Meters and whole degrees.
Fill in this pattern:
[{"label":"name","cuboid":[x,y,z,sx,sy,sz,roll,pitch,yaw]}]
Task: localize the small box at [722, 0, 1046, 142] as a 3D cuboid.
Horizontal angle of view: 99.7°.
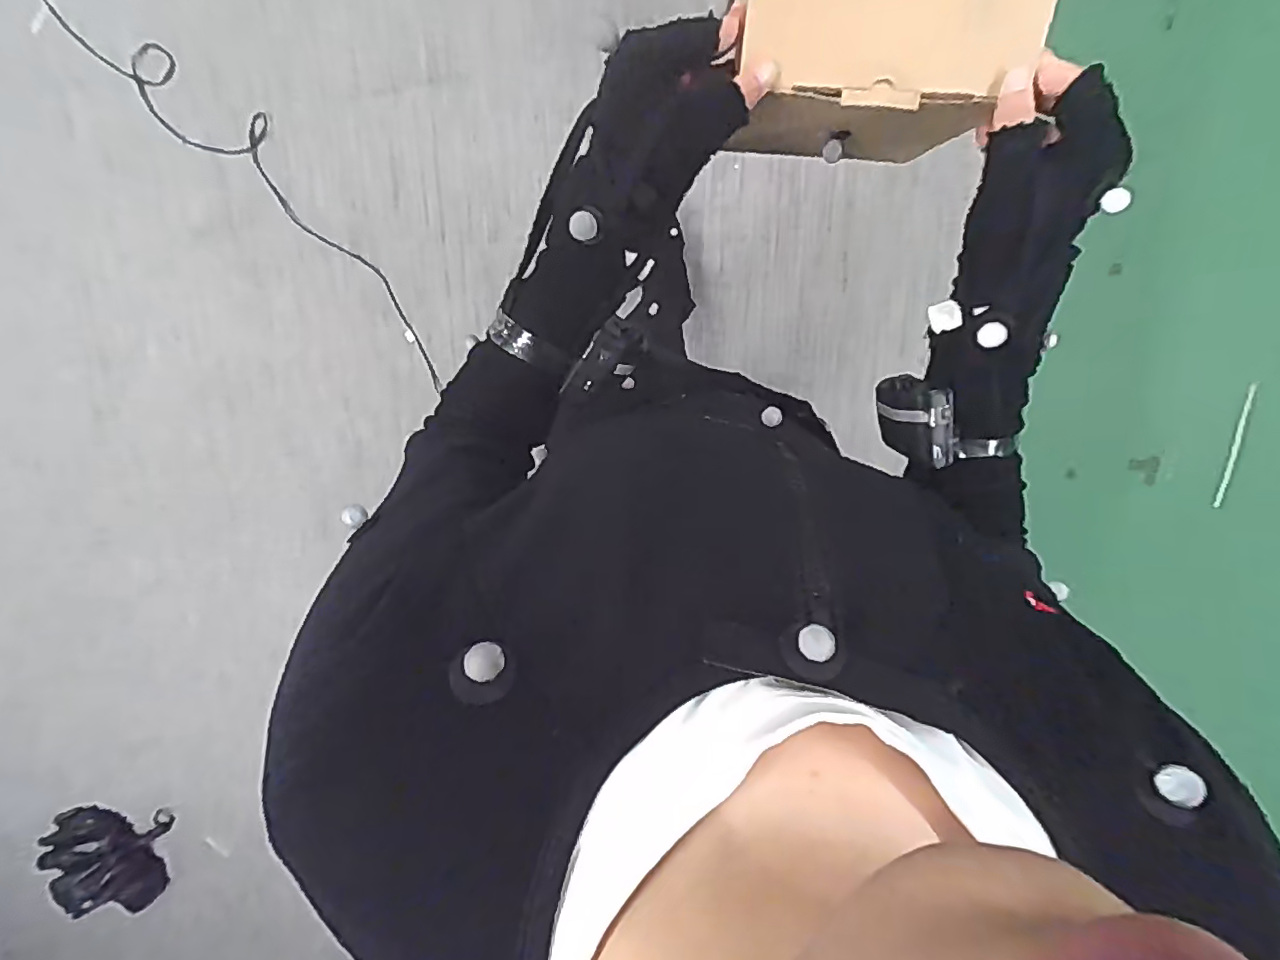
[{"label":"small box","cuboid":[0.149,-0.340,0.356,0.168,0.176,0.179,4,112,1]}]
